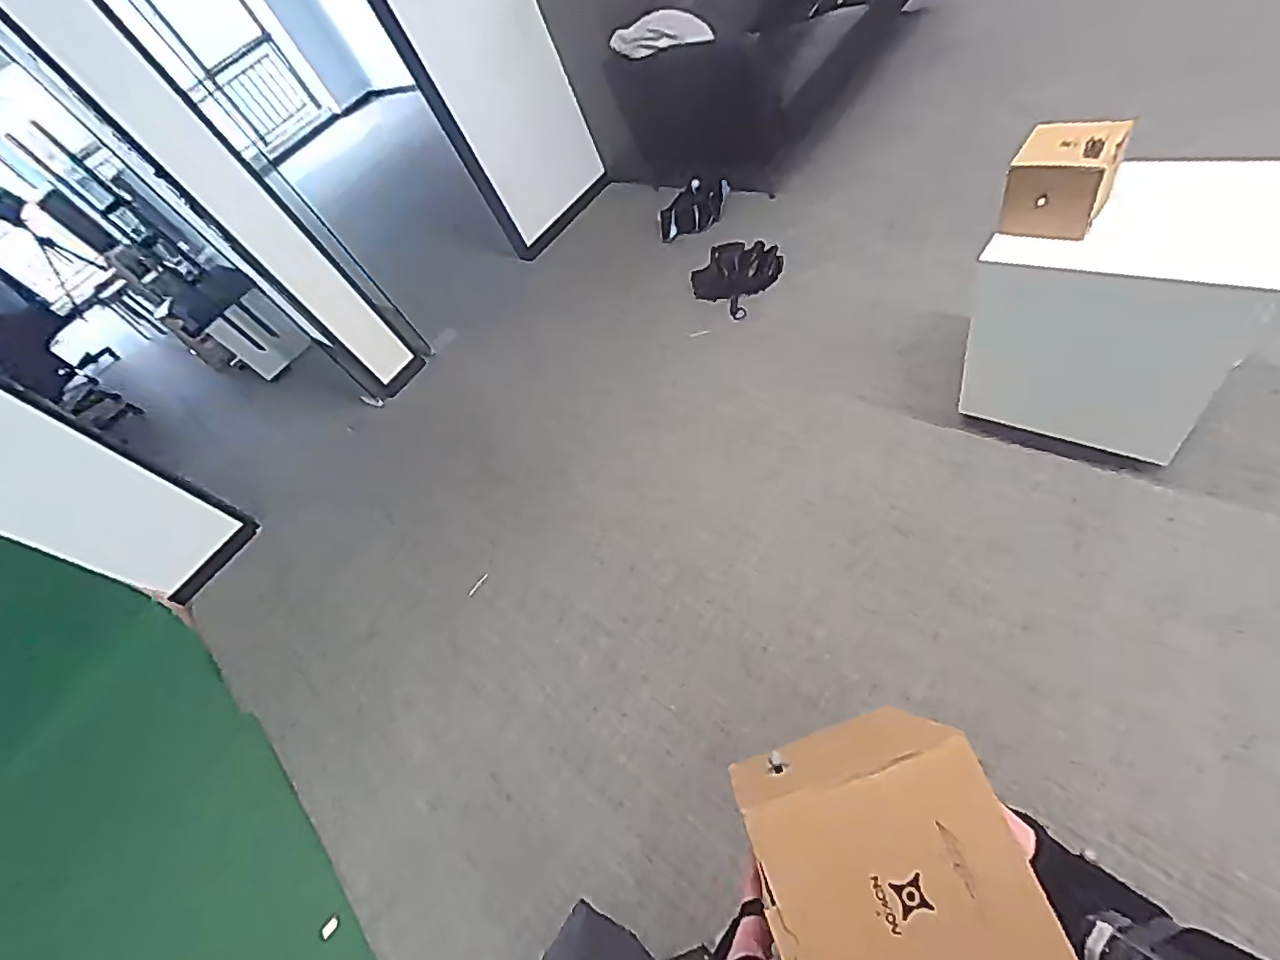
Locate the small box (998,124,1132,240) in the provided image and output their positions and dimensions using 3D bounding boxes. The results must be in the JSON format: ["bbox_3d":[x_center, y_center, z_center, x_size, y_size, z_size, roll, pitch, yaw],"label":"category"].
[{"bbox_3d":[0.940,-0.663,1.210,0.179,0.176,0.168,26,69,37],"label":"small box"}]
